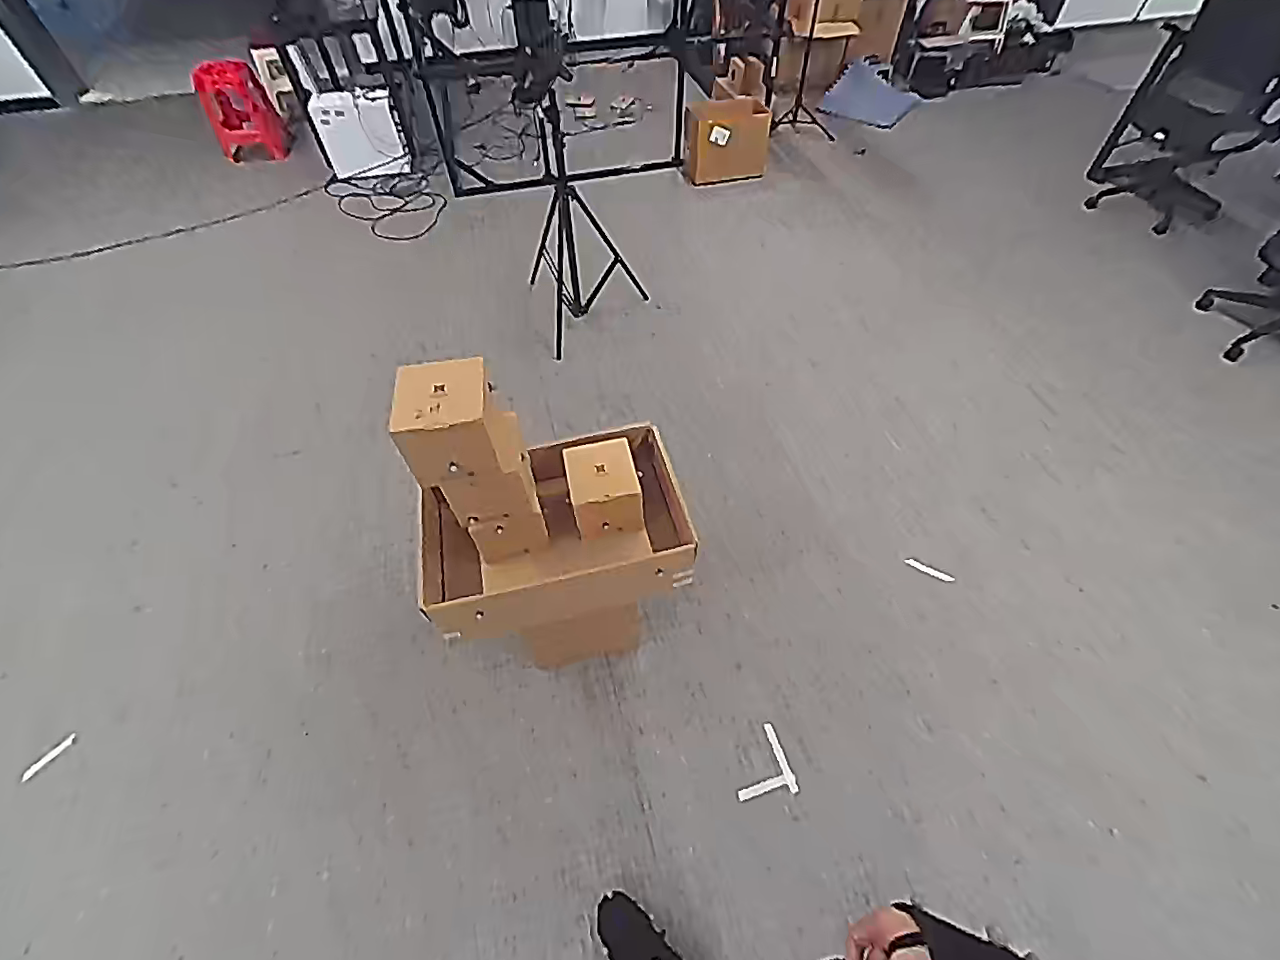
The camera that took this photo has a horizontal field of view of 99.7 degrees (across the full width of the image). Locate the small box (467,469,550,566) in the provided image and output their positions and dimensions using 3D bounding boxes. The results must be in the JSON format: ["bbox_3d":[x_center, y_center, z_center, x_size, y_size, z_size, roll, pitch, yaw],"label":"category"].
[{"bbox_3d":[-0.328,0.084,1.333,0.168,0.176,0.179,-15,54,-8],"label":"small box"}]

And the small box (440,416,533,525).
[{"bbox_3d":[-0.336,-0.014,1.202,0.168,0.176,0.179,-9,53,-6],"label":"small box"}]

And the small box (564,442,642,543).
[{"bbox_3d":[-0.093,0.032,1.367,0.168,0.176,0.179,-12,55,-6],"label":"small box"}]

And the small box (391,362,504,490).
[{"bbox_3d":[-0.368,-0.105,1.066,0.168,0.176,0.179,-9,54,-5],"label":"small box"}]
